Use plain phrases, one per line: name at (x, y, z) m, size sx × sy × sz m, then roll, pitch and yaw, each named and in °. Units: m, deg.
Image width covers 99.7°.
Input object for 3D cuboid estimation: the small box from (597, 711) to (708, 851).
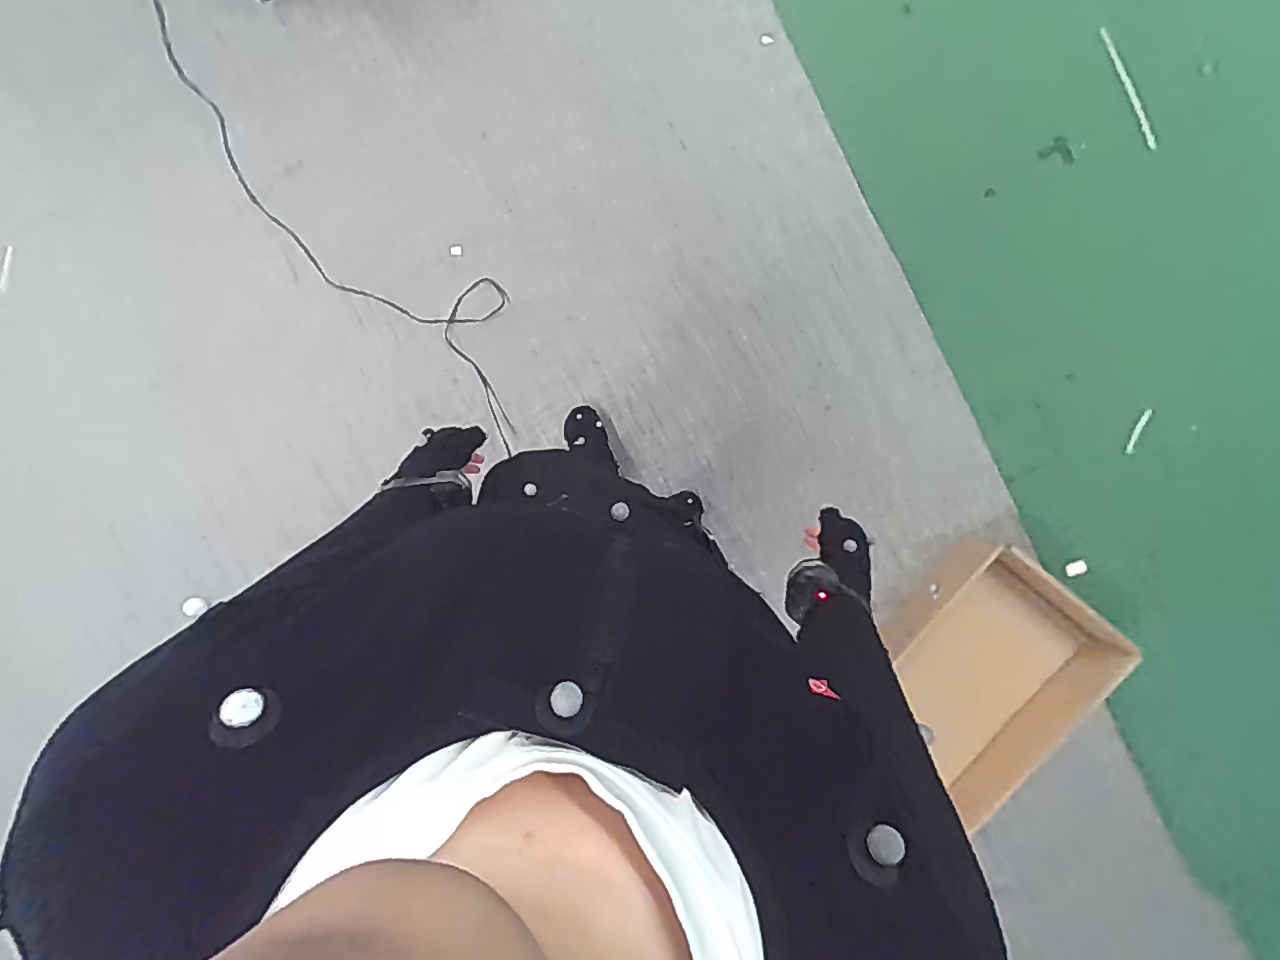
small box at (0.027, 0.601, 1.102) m, size 0.179 × 0.176 × 0.168 m, roll -19°, pitch 91°, yaw 5°
